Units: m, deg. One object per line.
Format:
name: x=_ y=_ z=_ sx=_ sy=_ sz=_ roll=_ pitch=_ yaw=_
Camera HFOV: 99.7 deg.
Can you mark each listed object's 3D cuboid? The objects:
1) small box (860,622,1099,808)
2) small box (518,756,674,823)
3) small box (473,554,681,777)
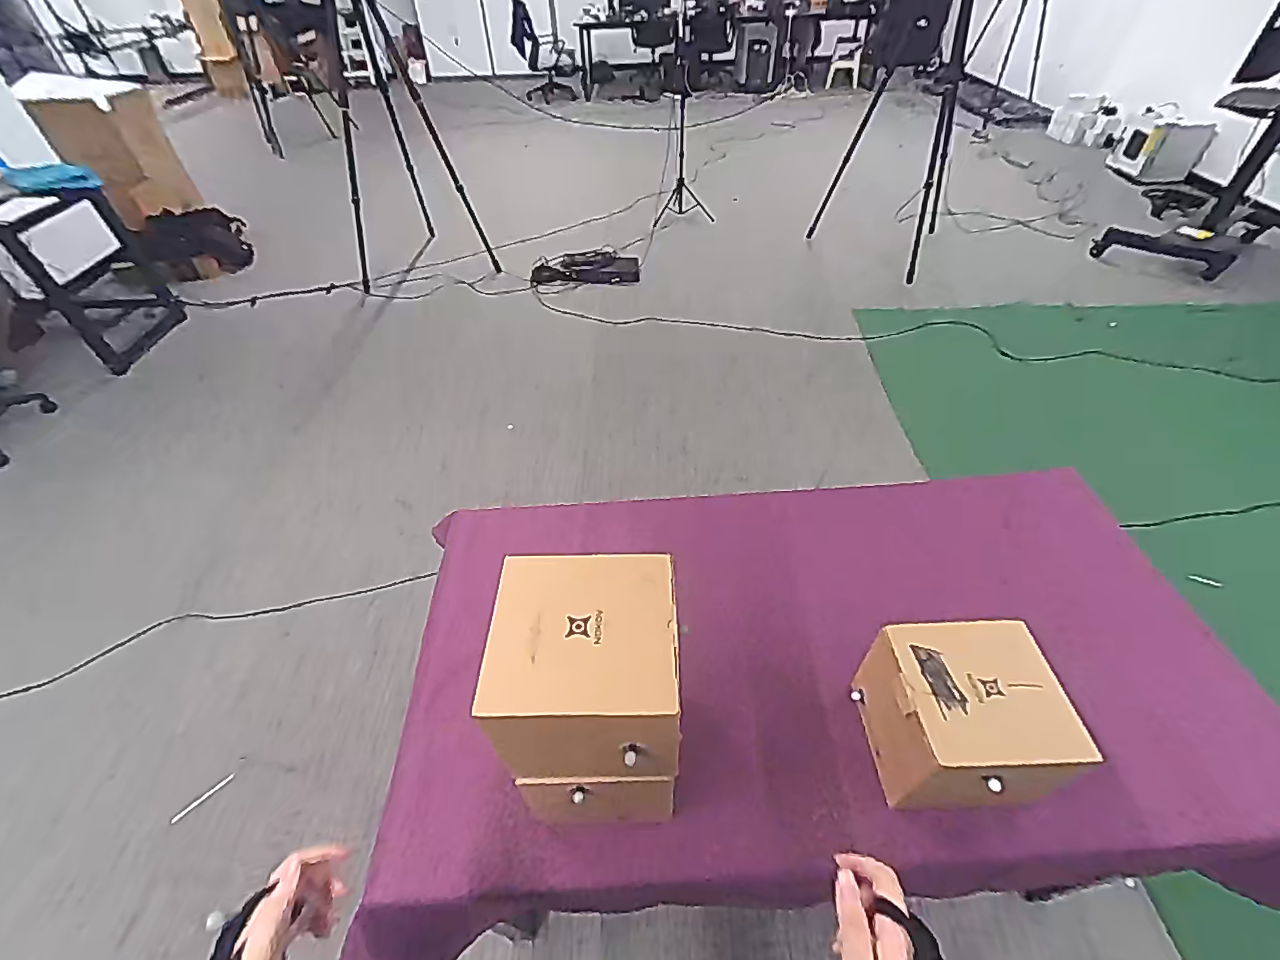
small box: x=0.391 y=0.293 z=0.671 sx=0.179 sy=0.176 sz=0.168 roll=-2 pitch=46 yaw=0
small box: x=-0.044 y=0.309 z=0.678 sx=0.168 sy=0.176 sz=0.179 roll=-2 pitch=46 yaw=2
small box: x=-0.050 y=0.193 z=0.560 sx=0.179 sy=0.176 sz=0.168 roll=-1 pitch=45 yaw=2
